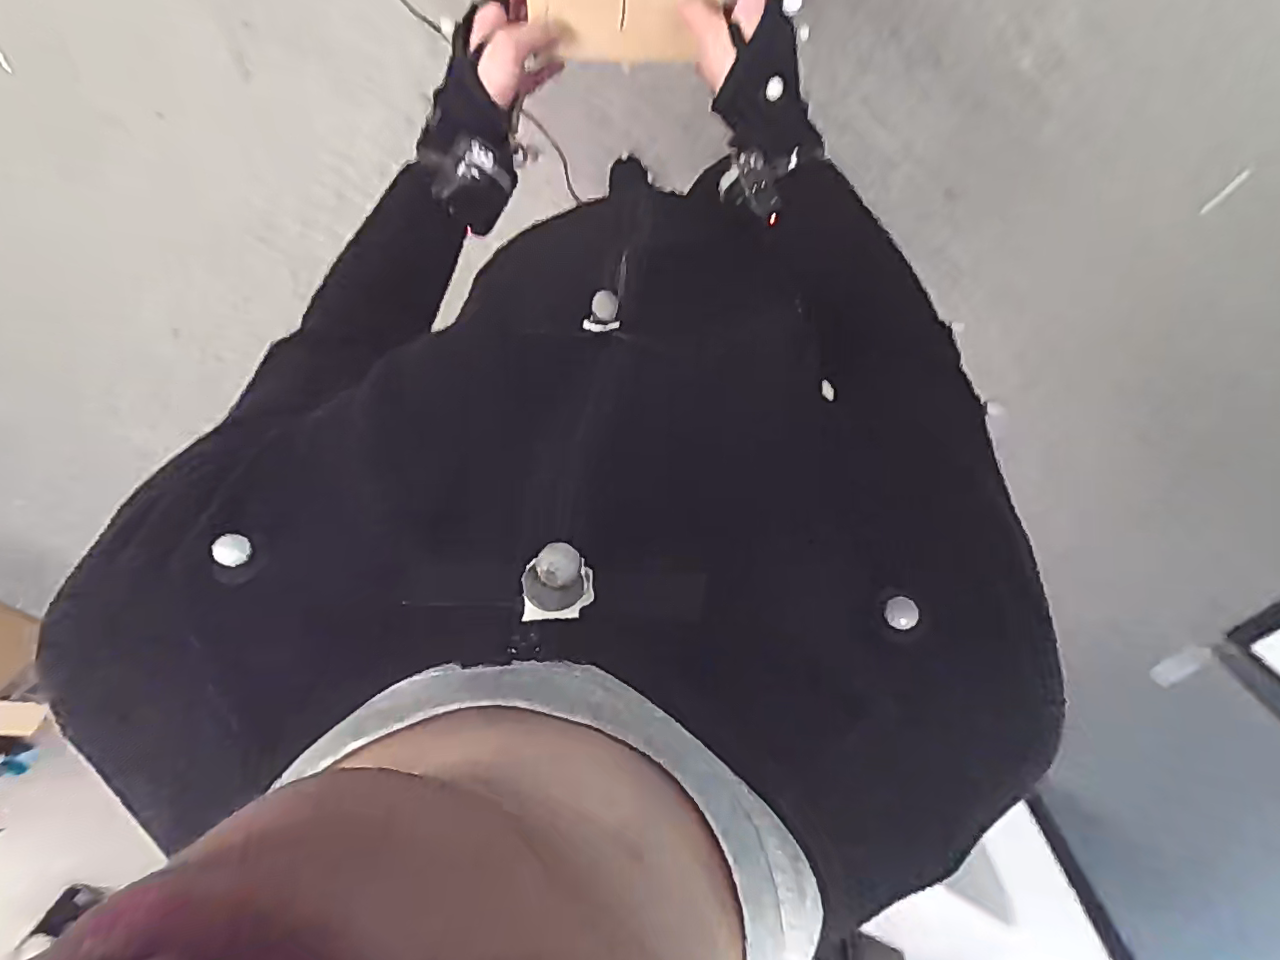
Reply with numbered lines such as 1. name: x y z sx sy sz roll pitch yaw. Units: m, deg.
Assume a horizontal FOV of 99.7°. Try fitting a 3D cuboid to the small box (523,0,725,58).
1. small box: -0.008 -0.477 0.462 0.168 0.176 0.179 3 131 2
